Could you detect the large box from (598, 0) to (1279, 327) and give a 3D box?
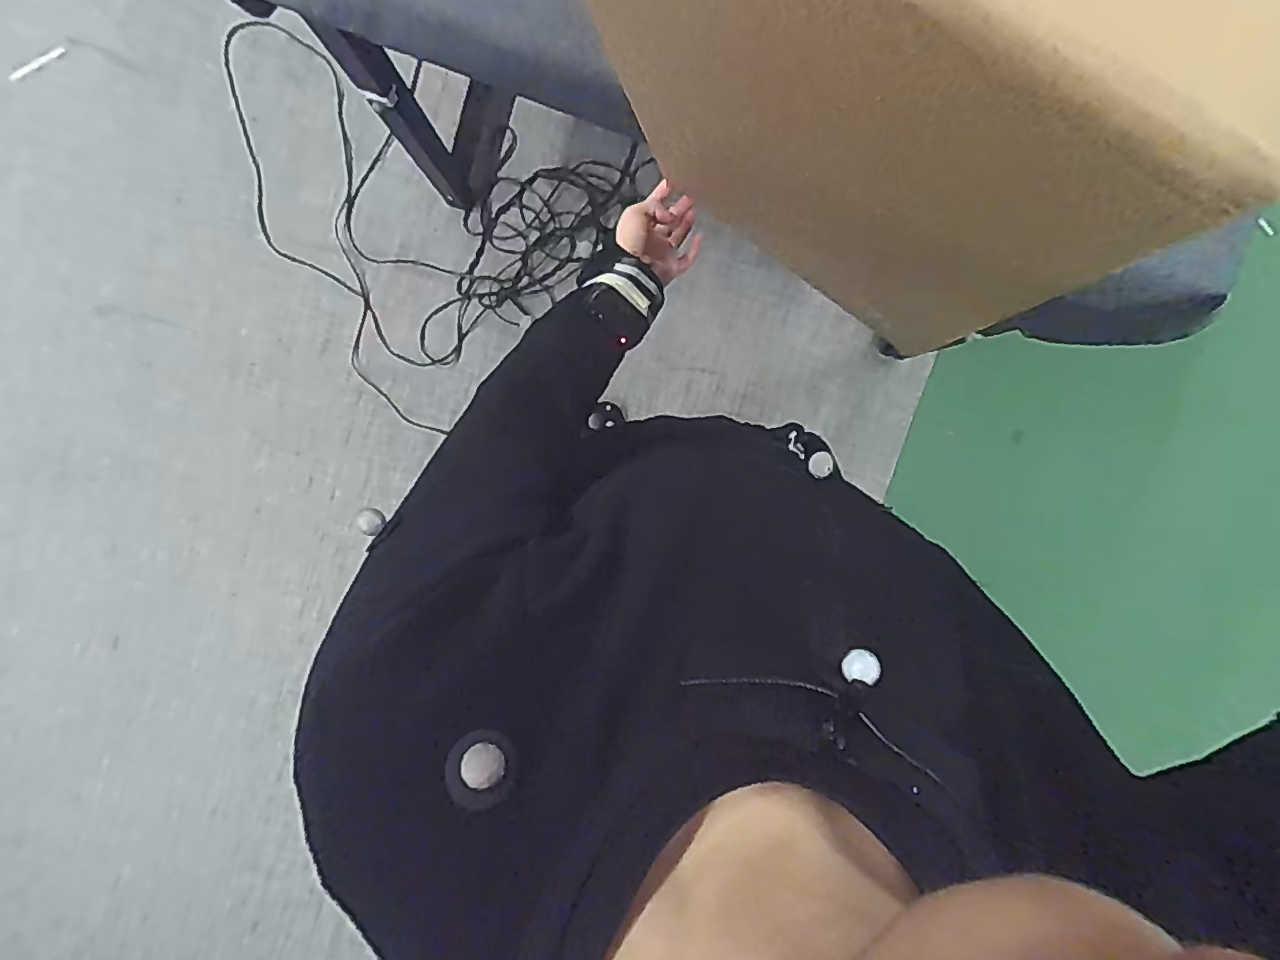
[{"bbox_3d":[0.185,-0.327,0.318,0.320,0.408,0.320,38,105,5],"label":"large box"}]
